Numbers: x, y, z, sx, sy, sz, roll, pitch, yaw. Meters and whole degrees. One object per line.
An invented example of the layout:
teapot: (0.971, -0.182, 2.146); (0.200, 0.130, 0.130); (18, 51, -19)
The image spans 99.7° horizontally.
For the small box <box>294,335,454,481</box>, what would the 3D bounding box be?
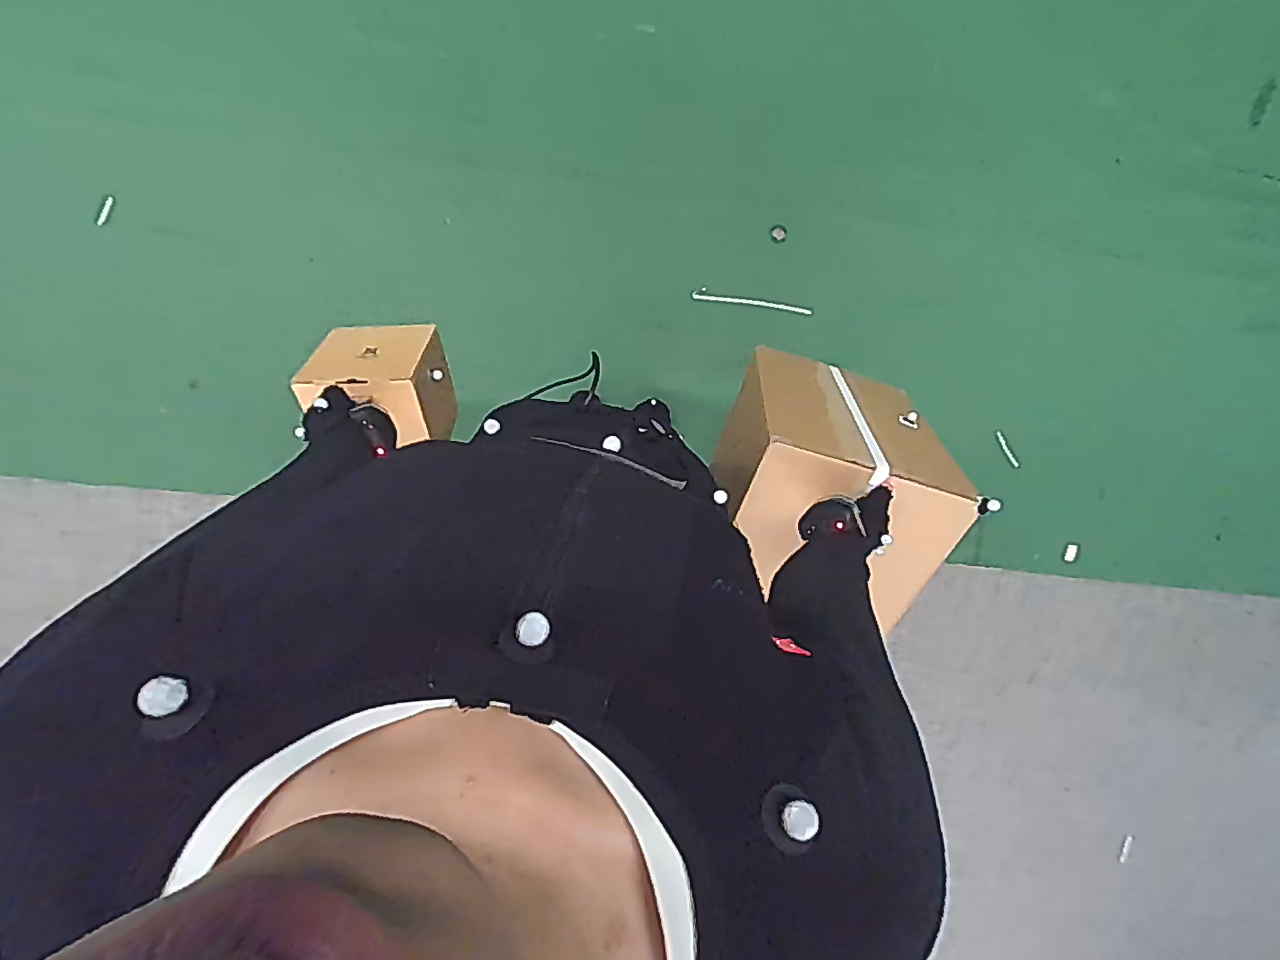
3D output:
small box: (-0.410, -0.118, 0.874); (0.168, 0.179, 0.176); (-4, 130, -3)
